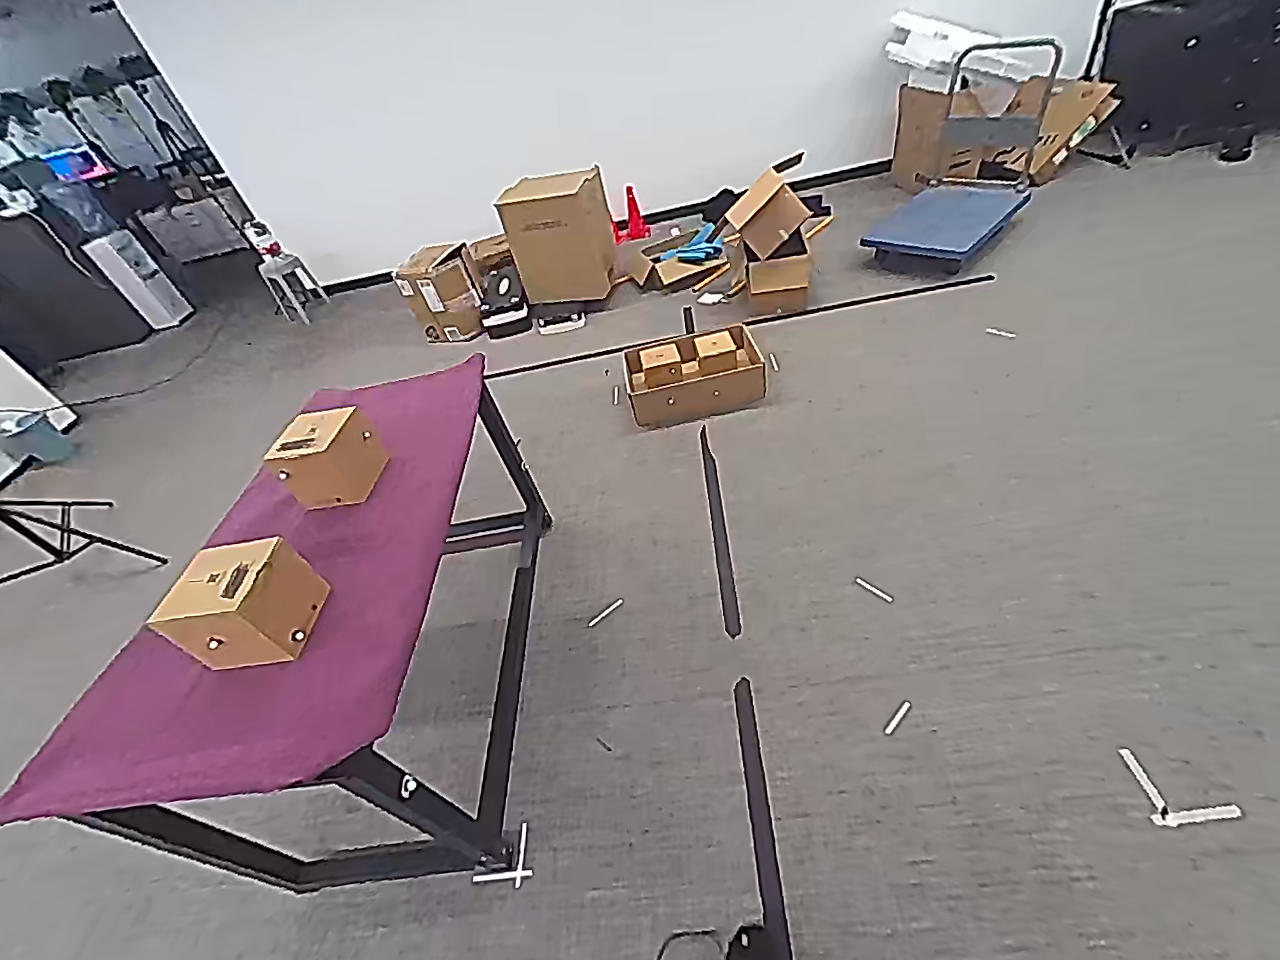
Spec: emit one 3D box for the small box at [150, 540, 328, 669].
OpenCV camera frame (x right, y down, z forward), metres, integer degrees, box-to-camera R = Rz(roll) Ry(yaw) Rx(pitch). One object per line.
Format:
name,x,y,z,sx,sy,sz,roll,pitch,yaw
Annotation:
small box,-0.737,0.237,1.022,0.179,0.176,0.168,-10,42,7

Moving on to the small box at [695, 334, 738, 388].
small box,0.360,-0.562,2.554,0.168,0.176,0.179,-13,42,4

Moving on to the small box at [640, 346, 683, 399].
small box,0.106,-0.508,2.569,0.179,0.176,0.168,-13,41,2
